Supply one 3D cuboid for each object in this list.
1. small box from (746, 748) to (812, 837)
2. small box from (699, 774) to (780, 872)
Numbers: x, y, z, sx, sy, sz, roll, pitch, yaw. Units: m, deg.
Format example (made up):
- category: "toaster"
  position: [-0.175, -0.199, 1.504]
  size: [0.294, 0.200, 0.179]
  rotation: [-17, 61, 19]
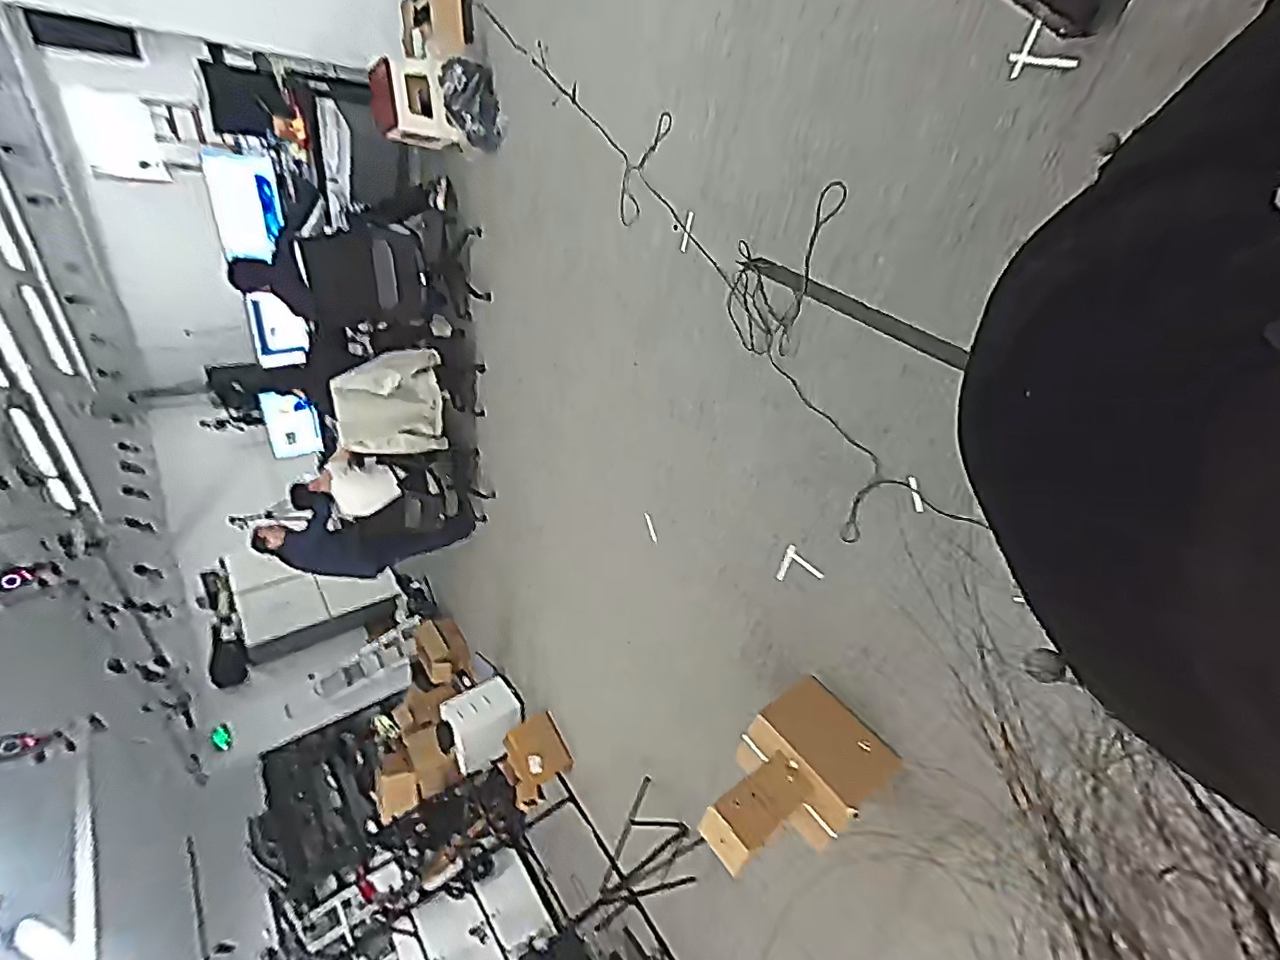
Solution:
- category: "small box"
  position: [0.445, 1.043, 1.807]
  size: [0.168, 0.176, 0.179]
  rotation: [41, 133, 35]
- category: "small box"
  position: [0.318, 1.076, 1.711]
  size: [0.168, 0.176, 0.179]
  rotation: [41, 134, 37]
